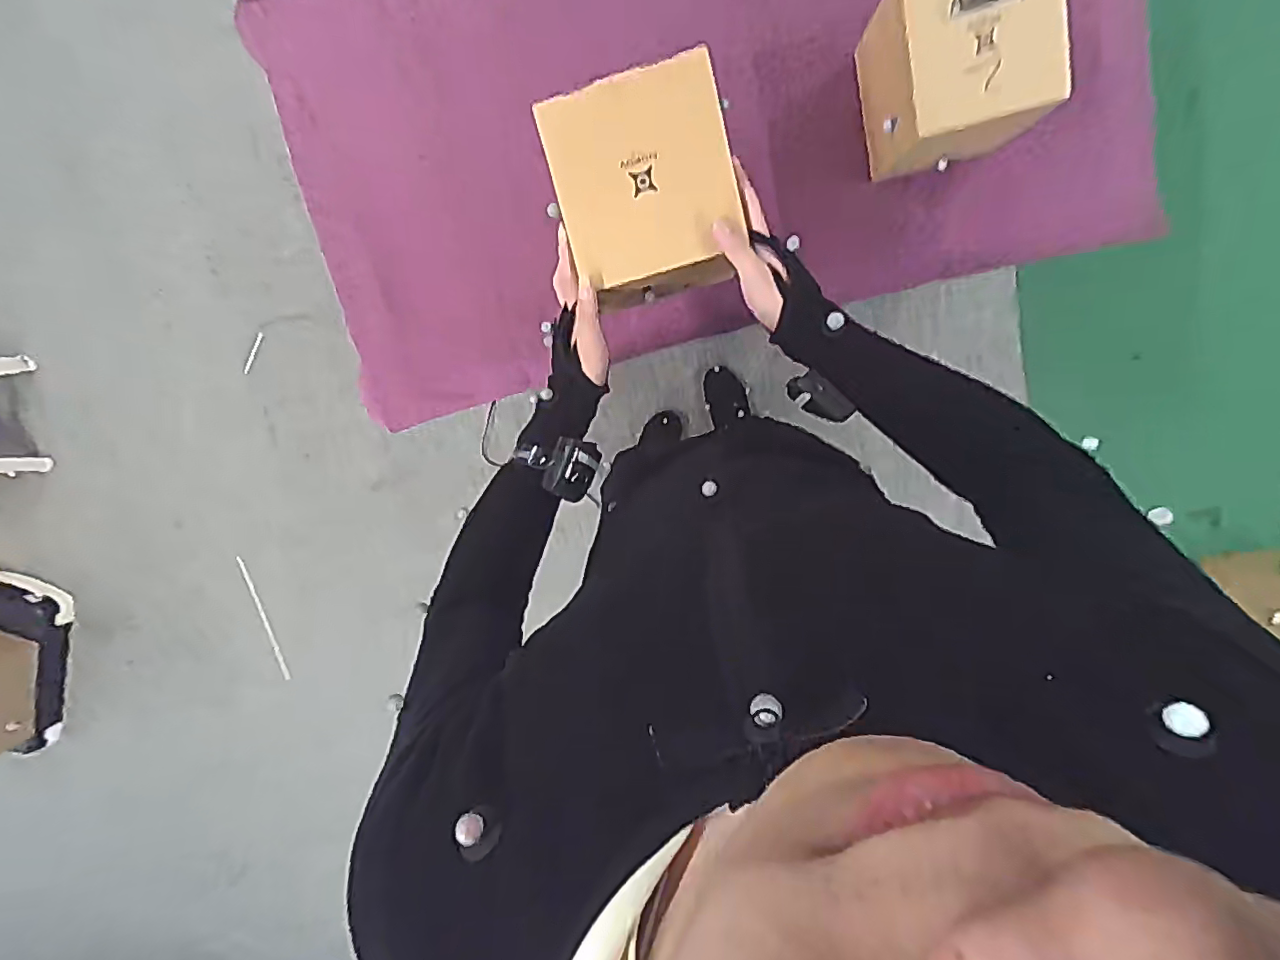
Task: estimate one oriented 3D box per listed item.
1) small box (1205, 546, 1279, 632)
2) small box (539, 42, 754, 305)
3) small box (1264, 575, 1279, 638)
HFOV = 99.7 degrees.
[{"bbox_3d":[1.714,0.289,1.472,0.179,0.176,0.168,-10,101,7],"label":"small box"},{"bbox_3d":[0.014,-0.294,0.570,0.168,0.176,0.179,-15,98,7],"label":"small box"},{"bbox_3d":[1.701,0.325,1.312,0.179,0.176,0.168,-11,101,8],"label":"small box"}]
